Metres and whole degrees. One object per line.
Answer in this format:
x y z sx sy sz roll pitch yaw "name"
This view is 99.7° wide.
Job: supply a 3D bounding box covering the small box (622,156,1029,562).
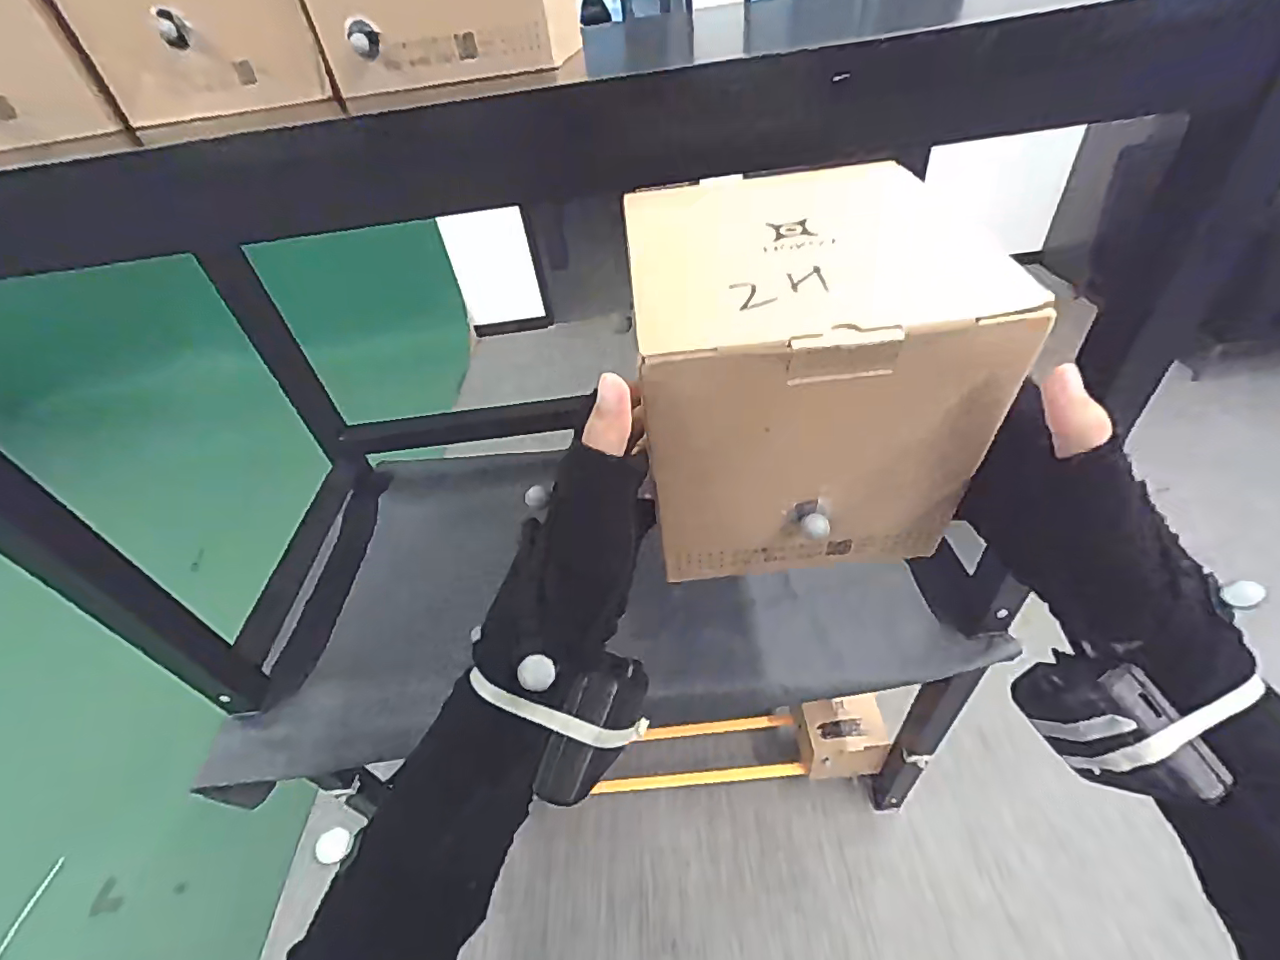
0.080 -0.072 0.334 0.168 0.176 0.179 -7 47 3 "small box"
